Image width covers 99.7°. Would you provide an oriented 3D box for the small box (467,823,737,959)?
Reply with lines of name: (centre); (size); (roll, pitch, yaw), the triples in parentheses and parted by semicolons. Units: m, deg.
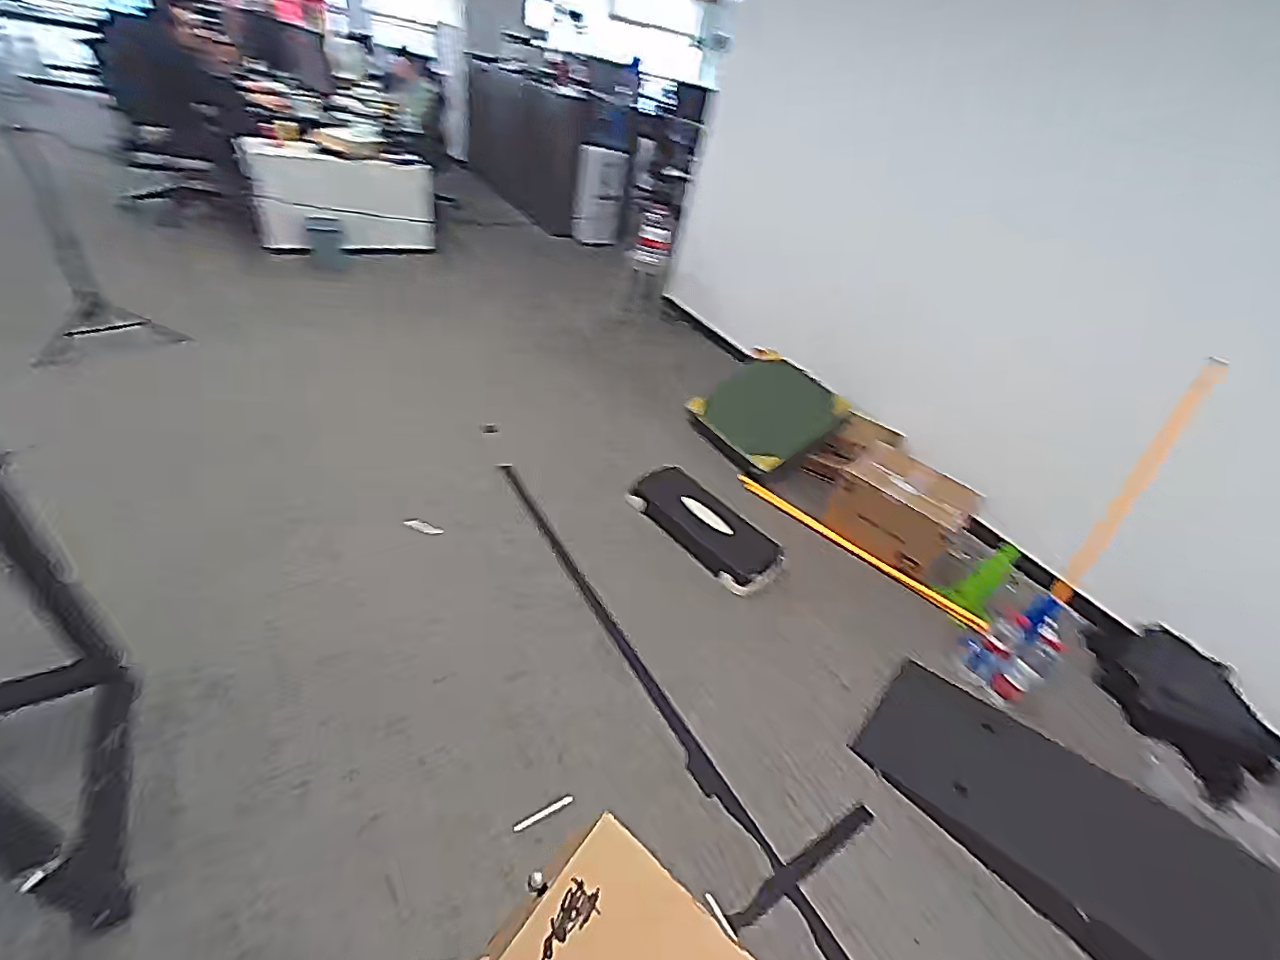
small box: (-0.037, 0.394, 0.395); (0.179, 0.176, 0.168); (40, 49, 13)
